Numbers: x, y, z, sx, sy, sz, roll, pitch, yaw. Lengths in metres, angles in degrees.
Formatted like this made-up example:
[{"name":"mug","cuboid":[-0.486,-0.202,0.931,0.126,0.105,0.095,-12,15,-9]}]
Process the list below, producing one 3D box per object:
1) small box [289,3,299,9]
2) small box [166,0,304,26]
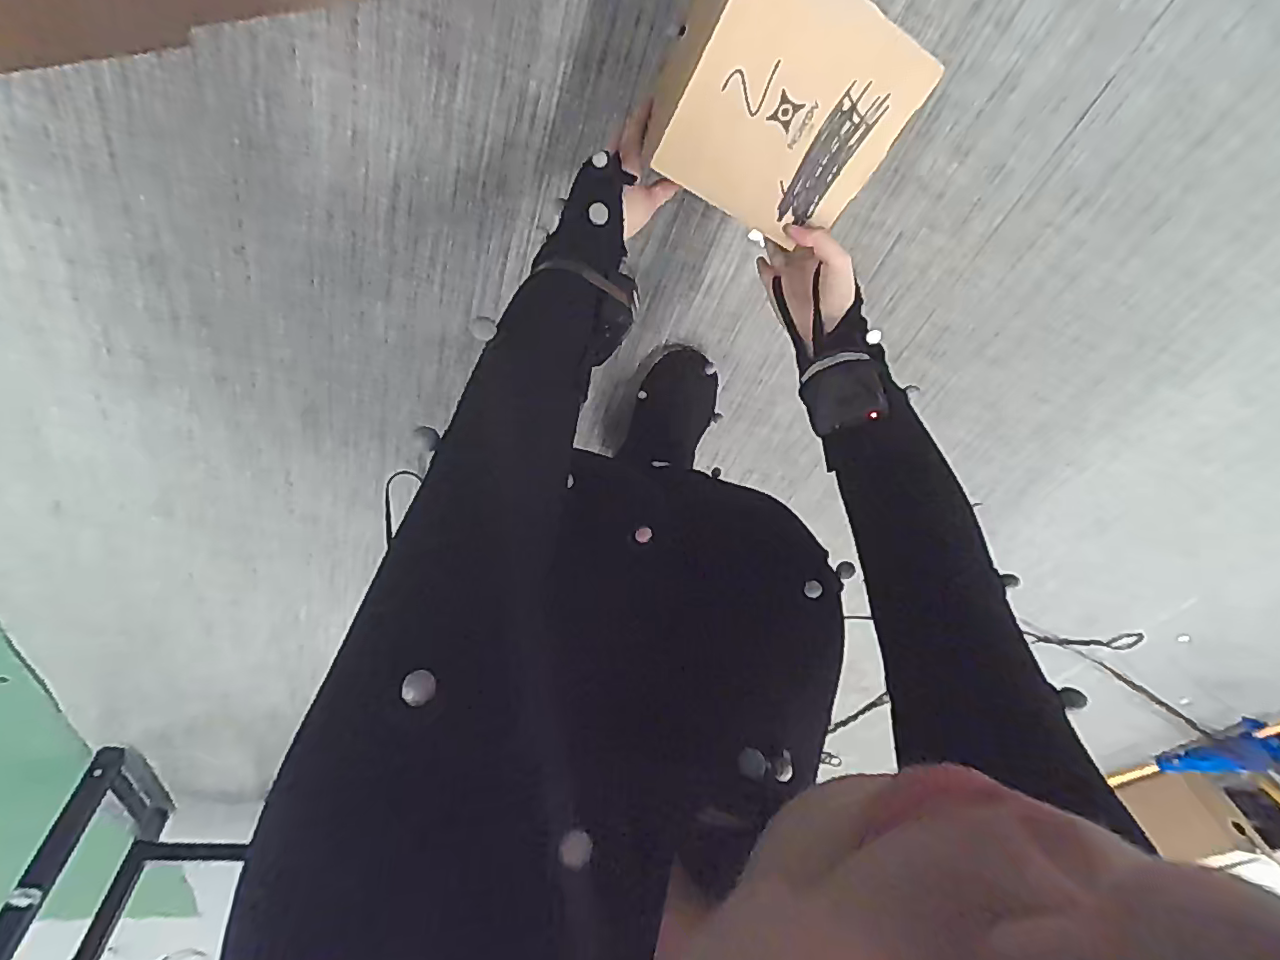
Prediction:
[{"name":"small box","cuboid":[-0.269,-0.449,0.341,0.168,0.176,0.179,16,130,-19]},{"name":"small box","cuboid":[-0.256,-0.337,0.225,0.168,0.176,0.179,14,131,-16]}]
